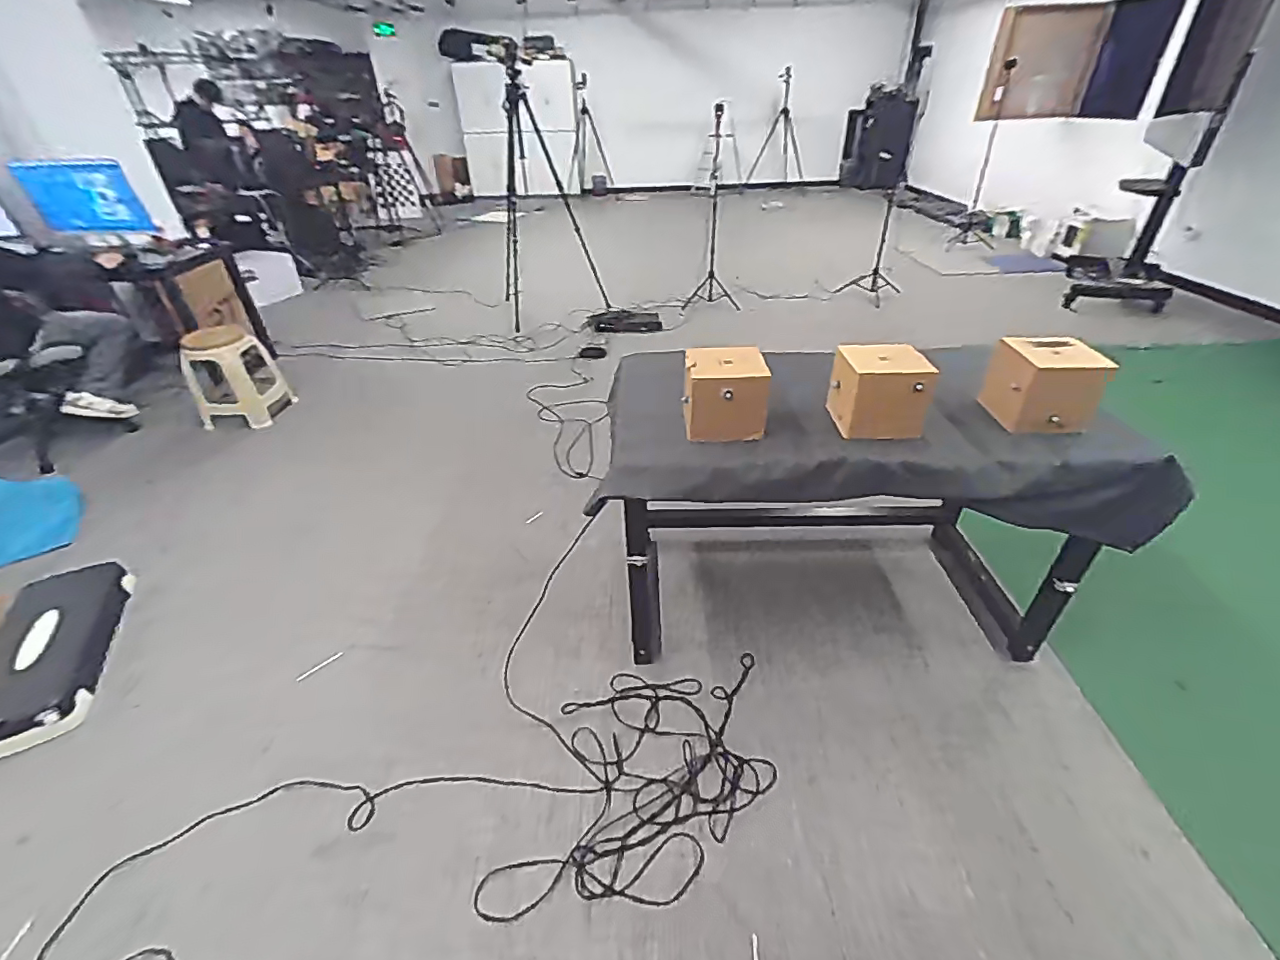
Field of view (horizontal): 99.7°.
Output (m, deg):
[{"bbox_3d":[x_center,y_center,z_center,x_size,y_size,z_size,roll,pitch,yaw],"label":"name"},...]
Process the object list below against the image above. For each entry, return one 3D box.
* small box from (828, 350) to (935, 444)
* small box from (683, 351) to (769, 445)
[{"bbox_3d":[0.551,-0.195,1.265,0.179,0.176,0.168,0,34,1],"label":"small box"},{"bbox_3d":[0.193,-0.192,1.272,0.179,0.176,0.168,0,36,-1],"label":"small box"}]
